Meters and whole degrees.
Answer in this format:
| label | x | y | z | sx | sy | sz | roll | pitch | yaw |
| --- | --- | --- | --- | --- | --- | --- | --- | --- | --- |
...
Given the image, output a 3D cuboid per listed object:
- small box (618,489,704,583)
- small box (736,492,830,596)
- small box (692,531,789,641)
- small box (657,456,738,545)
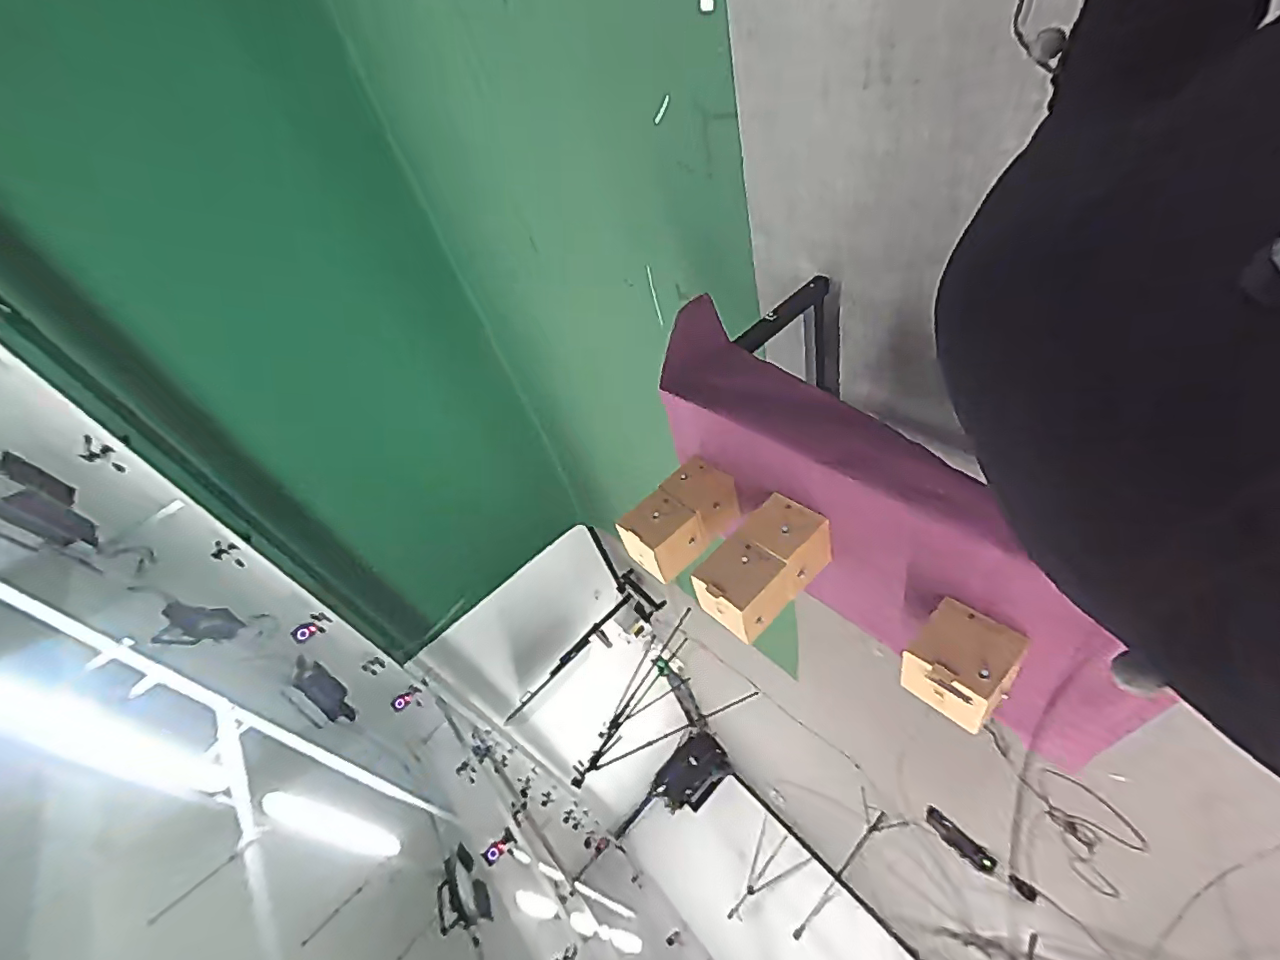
| label | x | y | z | sx | sy | sz | roll | pitch | yaw |
| --- | --- | --- | --- | --- | --- | --- | --- | --- | --- |
| small box | 0.066 | 0.158 | 1.583 | 0.168 | 0.176 | 0.179 | 34 | 154 | 39 |
| small box | 0.378 | 0.160 | 1.413 | 0.168 | 0.176 | 0.179 | 31 | 154 | 41 |
| small box | 0.259 | 0.264 | 1.363 | 0.168 | 0.176 | 0.179 | 33 | 154 | 38 |
| small box | 0.180 | 0.057 | 1.643 | 0.168 | 0.176 | 0.179 | 33 | 155 | 39 |
